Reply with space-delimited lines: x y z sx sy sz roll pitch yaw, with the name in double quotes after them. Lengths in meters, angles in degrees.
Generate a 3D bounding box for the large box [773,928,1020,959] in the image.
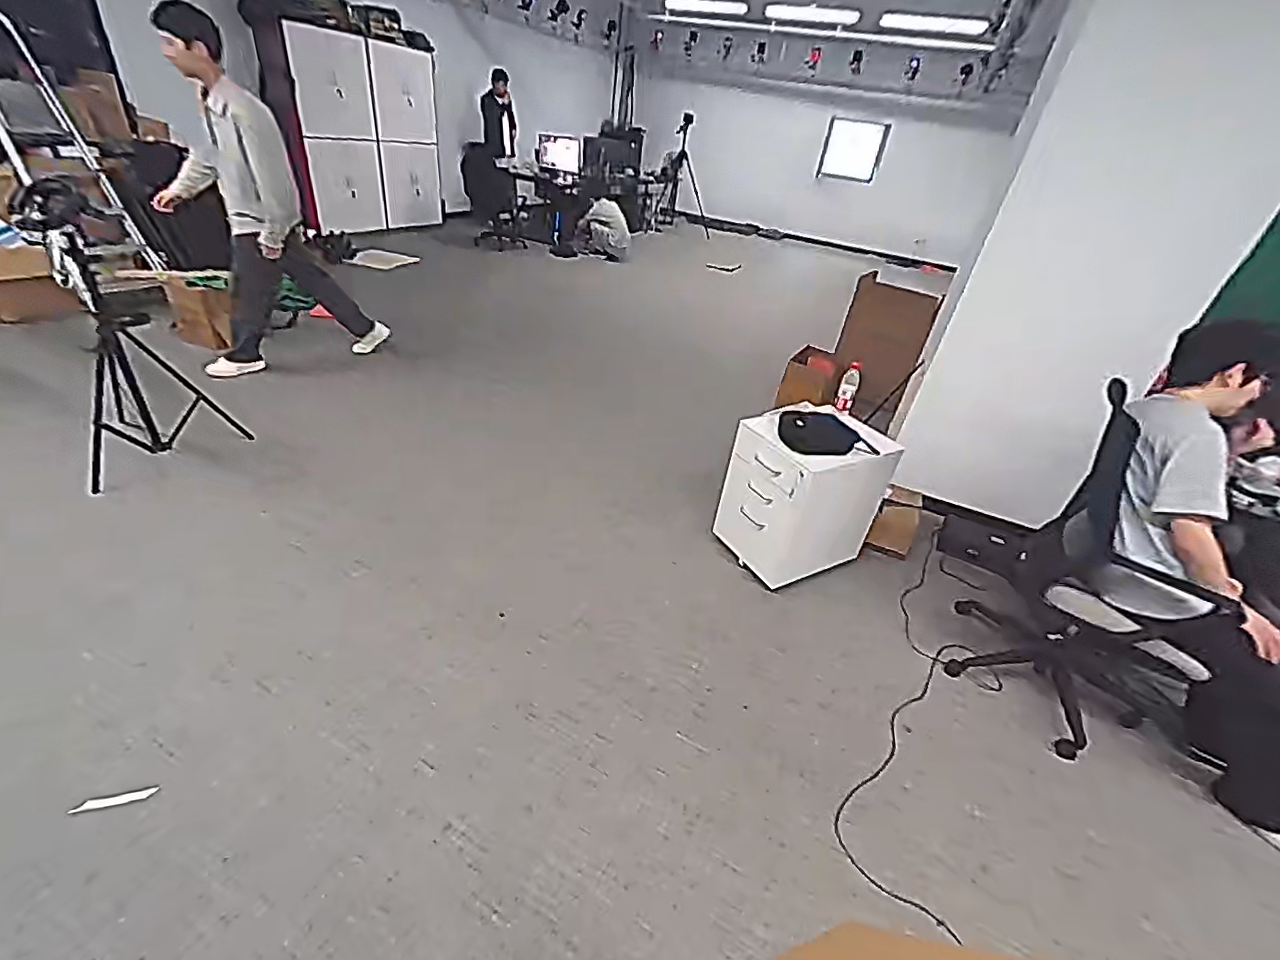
0.286 0.762 0.606 0.320 0.408 0.320 -4 58 -20 "large box"
